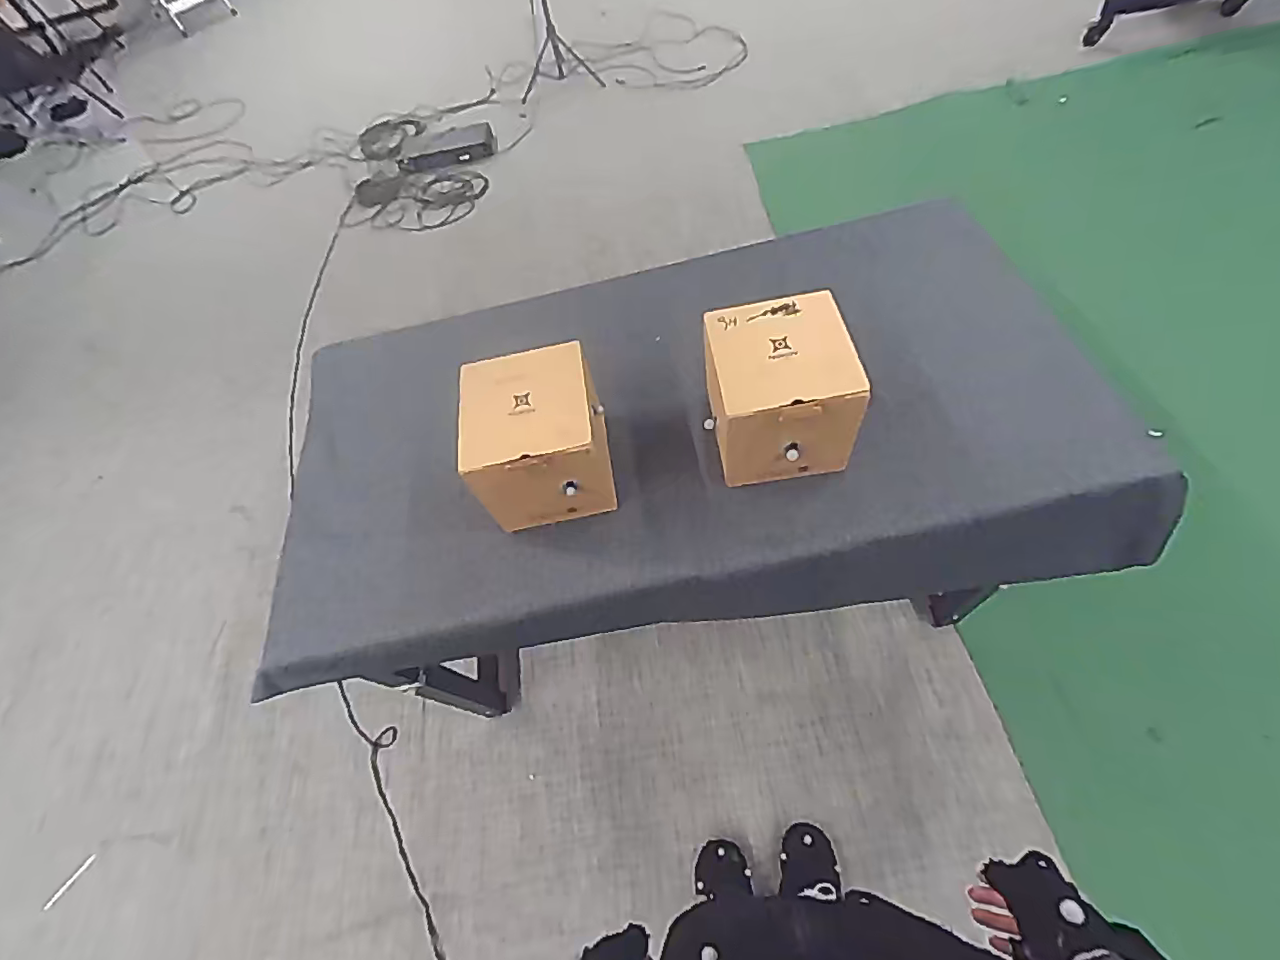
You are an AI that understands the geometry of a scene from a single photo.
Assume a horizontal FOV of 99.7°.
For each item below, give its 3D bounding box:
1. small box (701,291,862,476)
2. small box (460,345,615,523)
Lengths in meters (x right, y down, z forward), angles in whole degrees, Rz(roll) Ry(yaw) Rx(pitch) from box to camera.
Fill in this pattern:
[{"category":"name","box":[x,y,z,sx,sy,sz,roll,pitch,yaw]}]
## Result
[{"category":"small box","box":[0.180,-0.118,0.731,0.168,0.176,0.179,-10,60,5]},{"category":"small box","box":[-0.137,-0.054,0.755,0.168,0.176,0.179,-12,58,2]}]
